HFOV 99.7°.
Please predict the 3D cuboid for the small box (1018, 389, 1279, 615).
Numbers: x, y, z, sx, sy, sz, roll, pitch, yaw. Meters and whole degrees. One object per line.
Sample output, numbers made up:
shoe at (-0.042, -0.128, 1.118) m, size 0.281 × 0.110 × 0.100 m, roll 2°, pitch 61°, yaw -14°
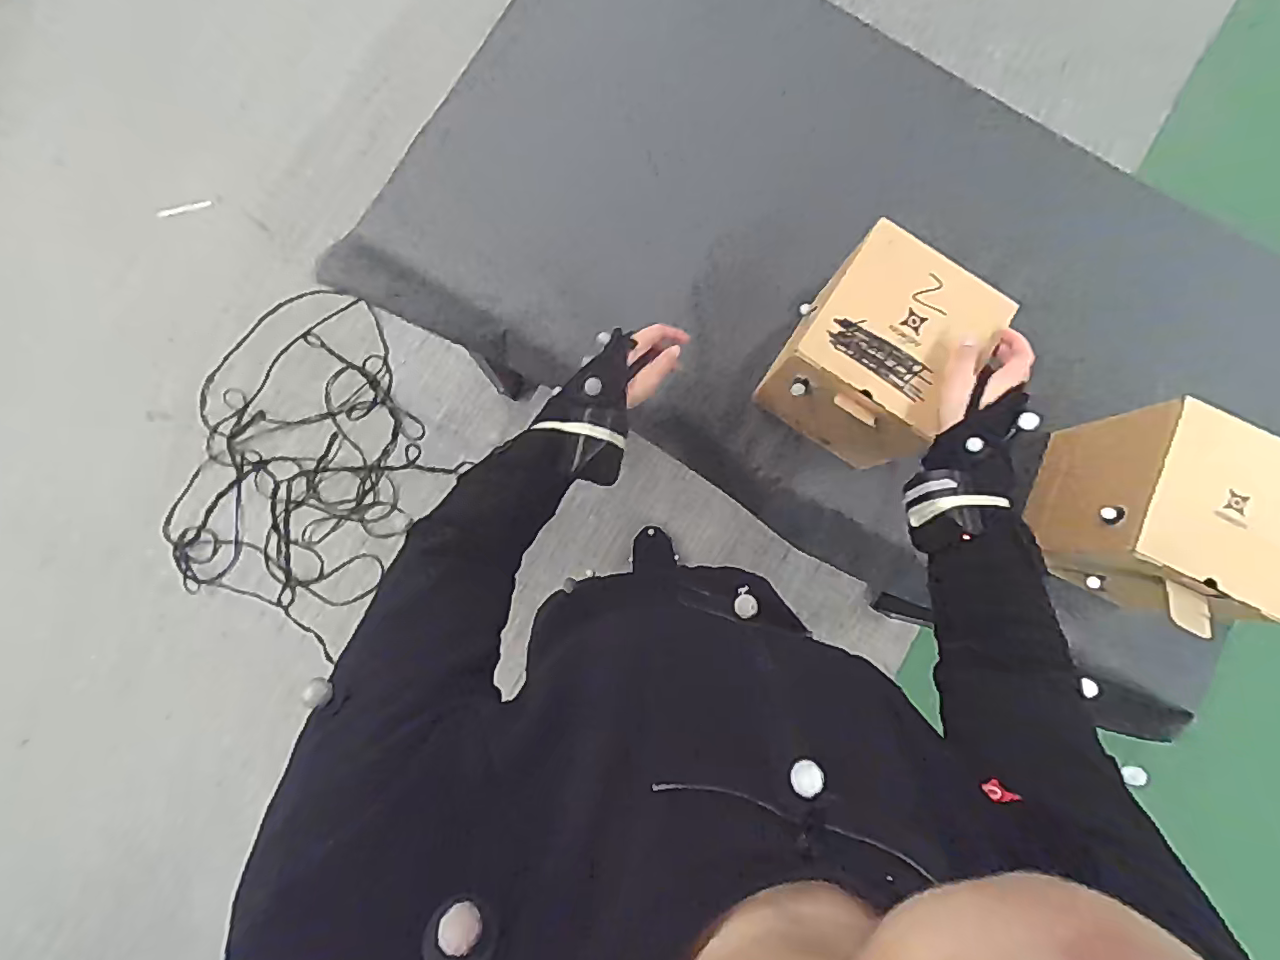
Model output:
small box at (0.574, 0.028, 0.605) m, size 0.168 × 0.176 × 0.179 m, roll 25°, pitch 83°, yaw 0°
